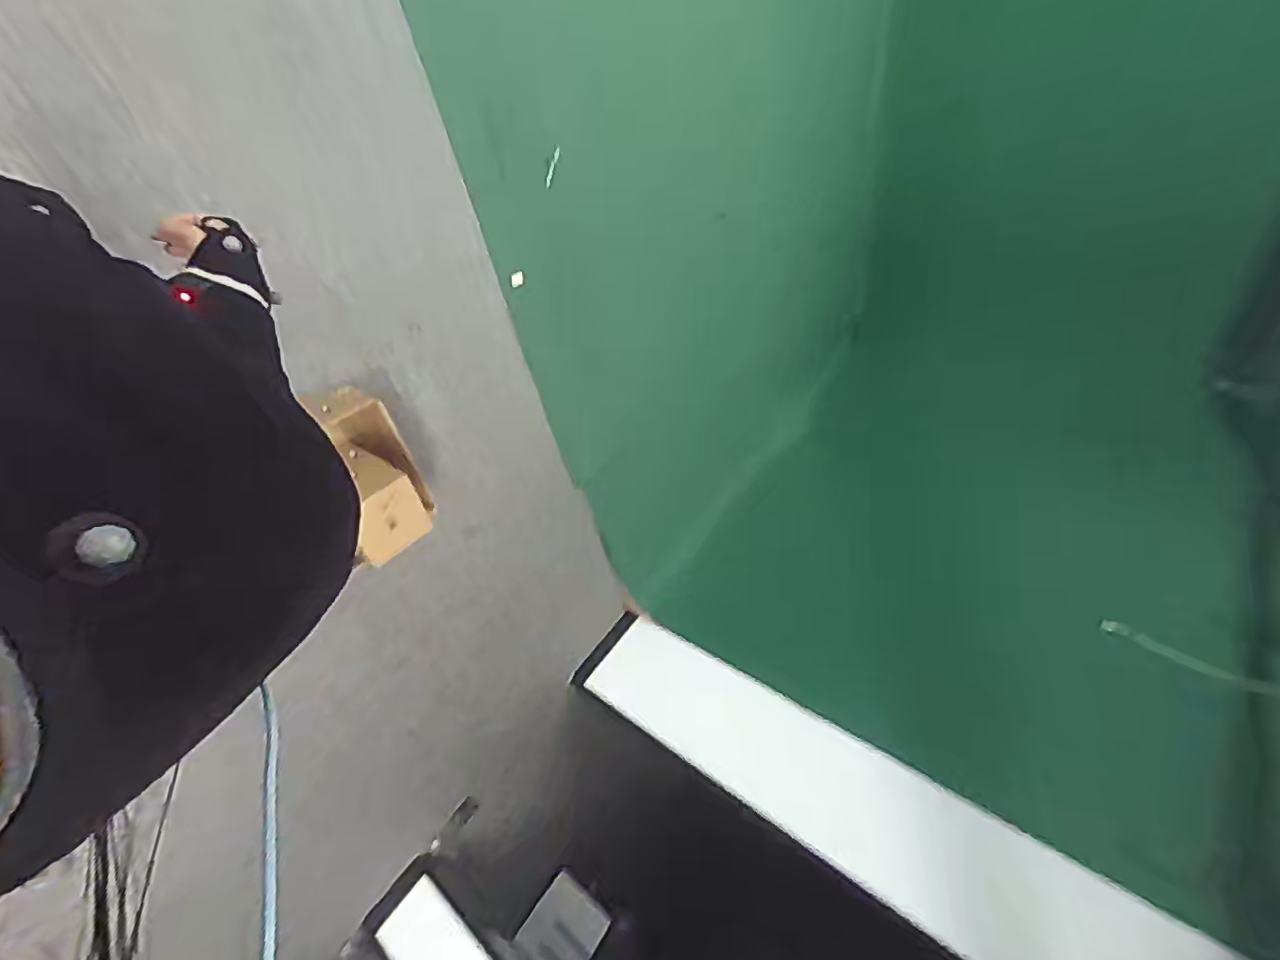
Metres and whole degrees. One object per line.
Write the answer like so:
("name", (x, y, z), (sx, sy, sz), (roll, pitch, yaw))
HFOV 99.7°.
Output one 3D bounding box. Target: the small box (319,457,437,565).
("small box", (-0.636, 0.069, 1.316), (0.168, 0.176, 0.179), (-41, 136, -34))
